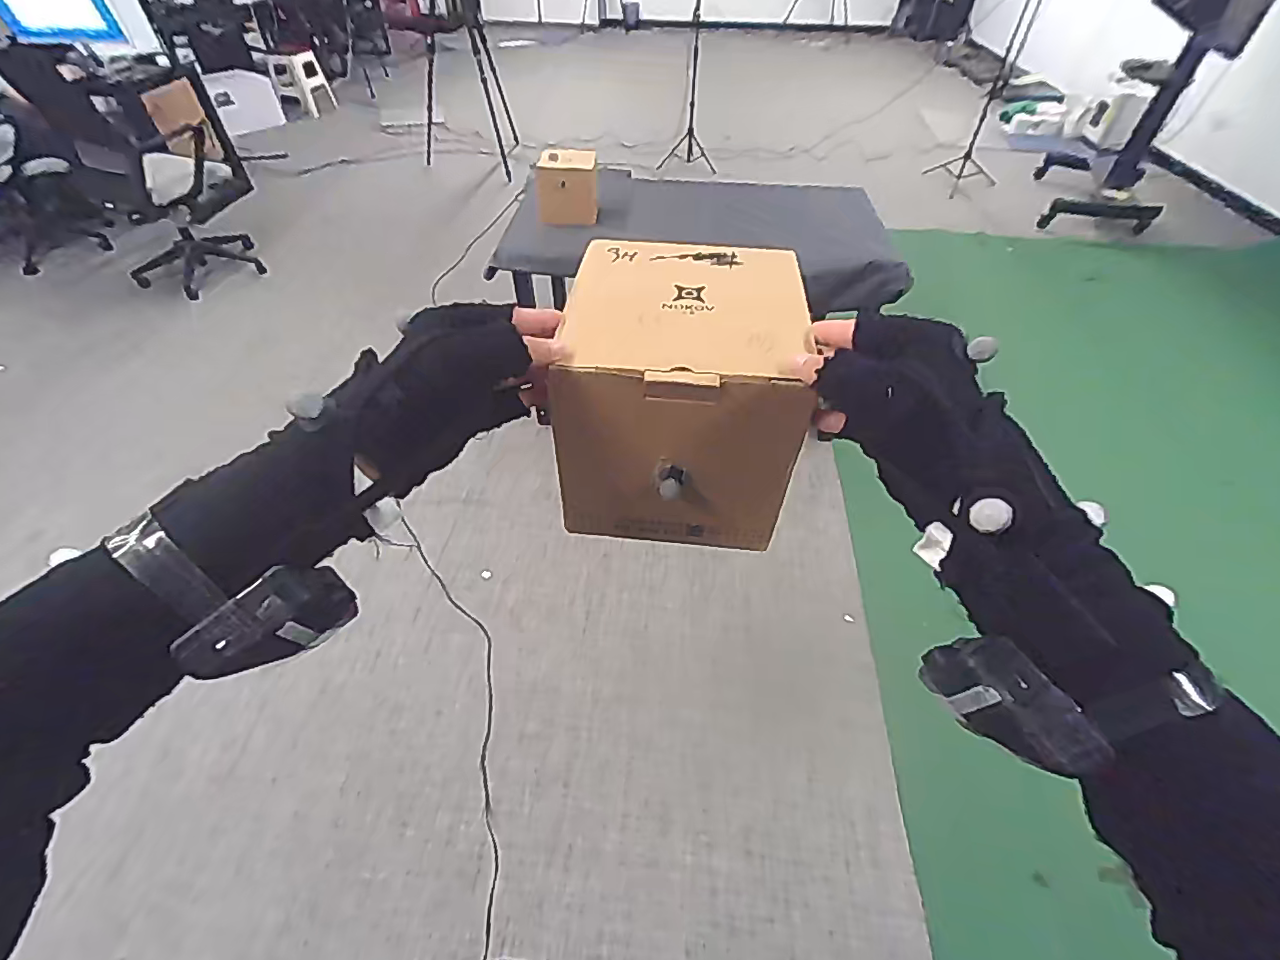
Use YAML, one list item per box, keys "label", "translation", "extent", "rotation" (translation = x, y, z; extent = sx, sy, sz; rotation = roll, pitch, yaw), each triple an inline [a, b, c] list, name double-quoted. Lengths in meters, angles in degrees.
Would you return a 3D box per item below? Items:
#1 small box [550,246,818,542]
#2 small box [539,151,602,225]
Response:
- label: "small box"
  translation: [0.034, -0.067, 0.438]
  extent: [0.168, 0.176, 0.179]
  rotation: [4, 48, 3]
- label: "small box"
  translation: [-0.218, -0.942, 1.748]
  extent: [0.179, 0.176, 0.168]
  rotation: [3, 48, 0]
